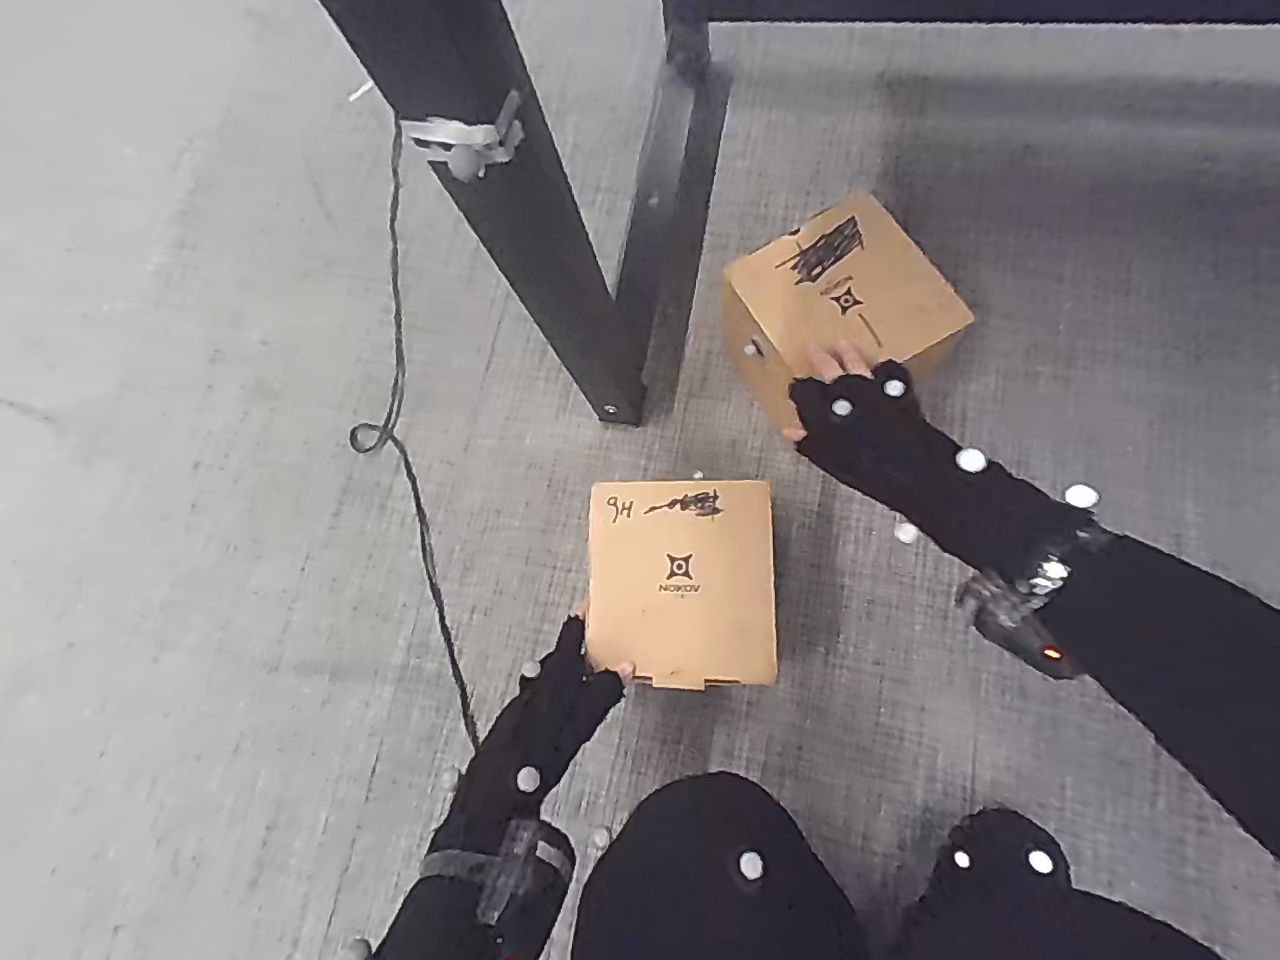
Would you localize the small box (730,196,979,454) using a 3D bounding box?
[{"bbox_3d":[0.209,-0.153,0.591,0.168,0.176,0.179,-32,76,1],"label":"small box"}]
